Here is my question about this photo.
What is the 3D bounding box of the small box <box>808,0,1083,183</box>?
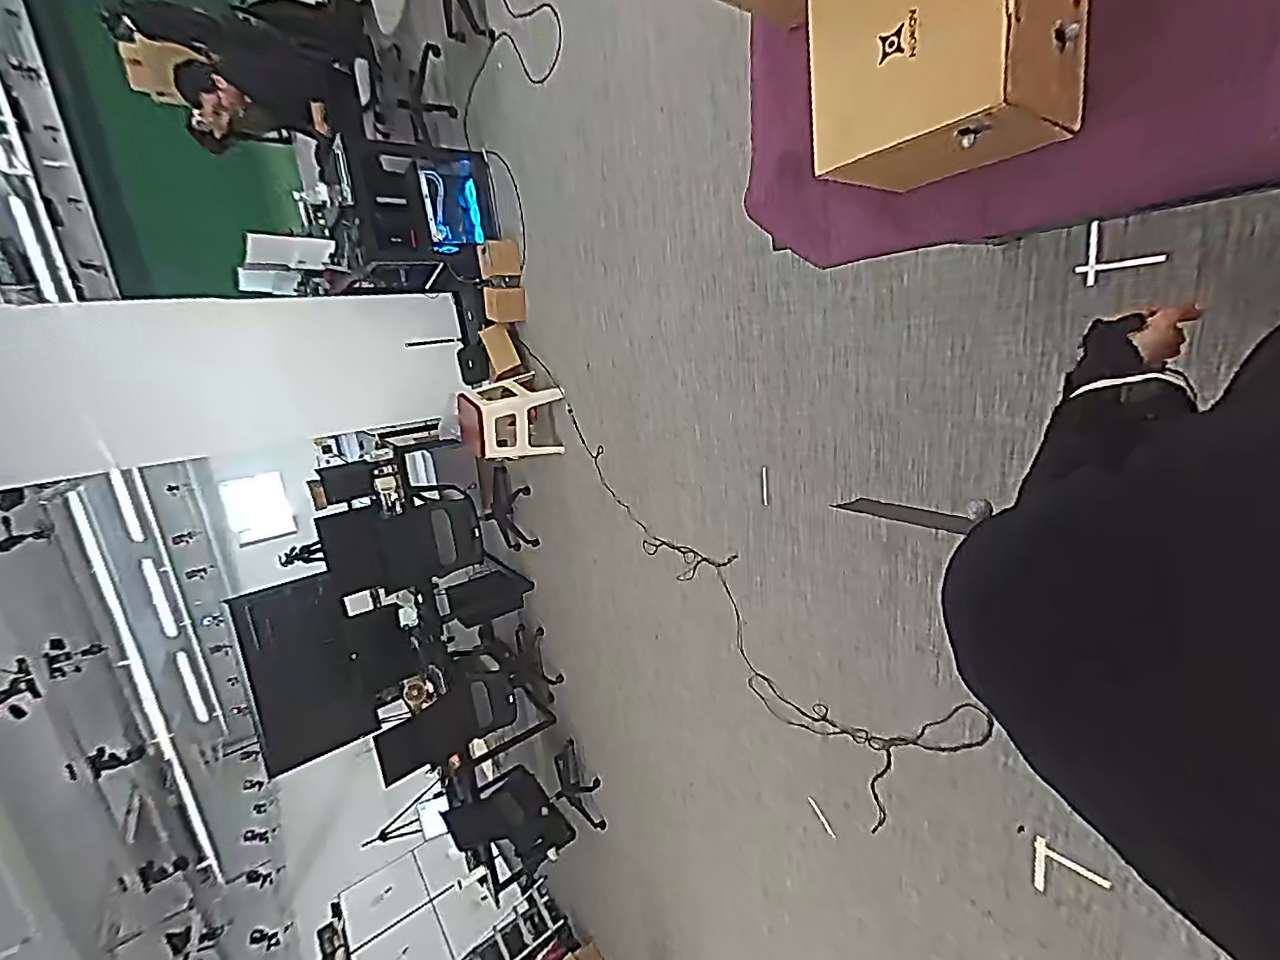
[{"bbox_3d":[0.285,-0.402,0.514,0.179,0.176,0.168,9,110,53],"label":"small box"}]
